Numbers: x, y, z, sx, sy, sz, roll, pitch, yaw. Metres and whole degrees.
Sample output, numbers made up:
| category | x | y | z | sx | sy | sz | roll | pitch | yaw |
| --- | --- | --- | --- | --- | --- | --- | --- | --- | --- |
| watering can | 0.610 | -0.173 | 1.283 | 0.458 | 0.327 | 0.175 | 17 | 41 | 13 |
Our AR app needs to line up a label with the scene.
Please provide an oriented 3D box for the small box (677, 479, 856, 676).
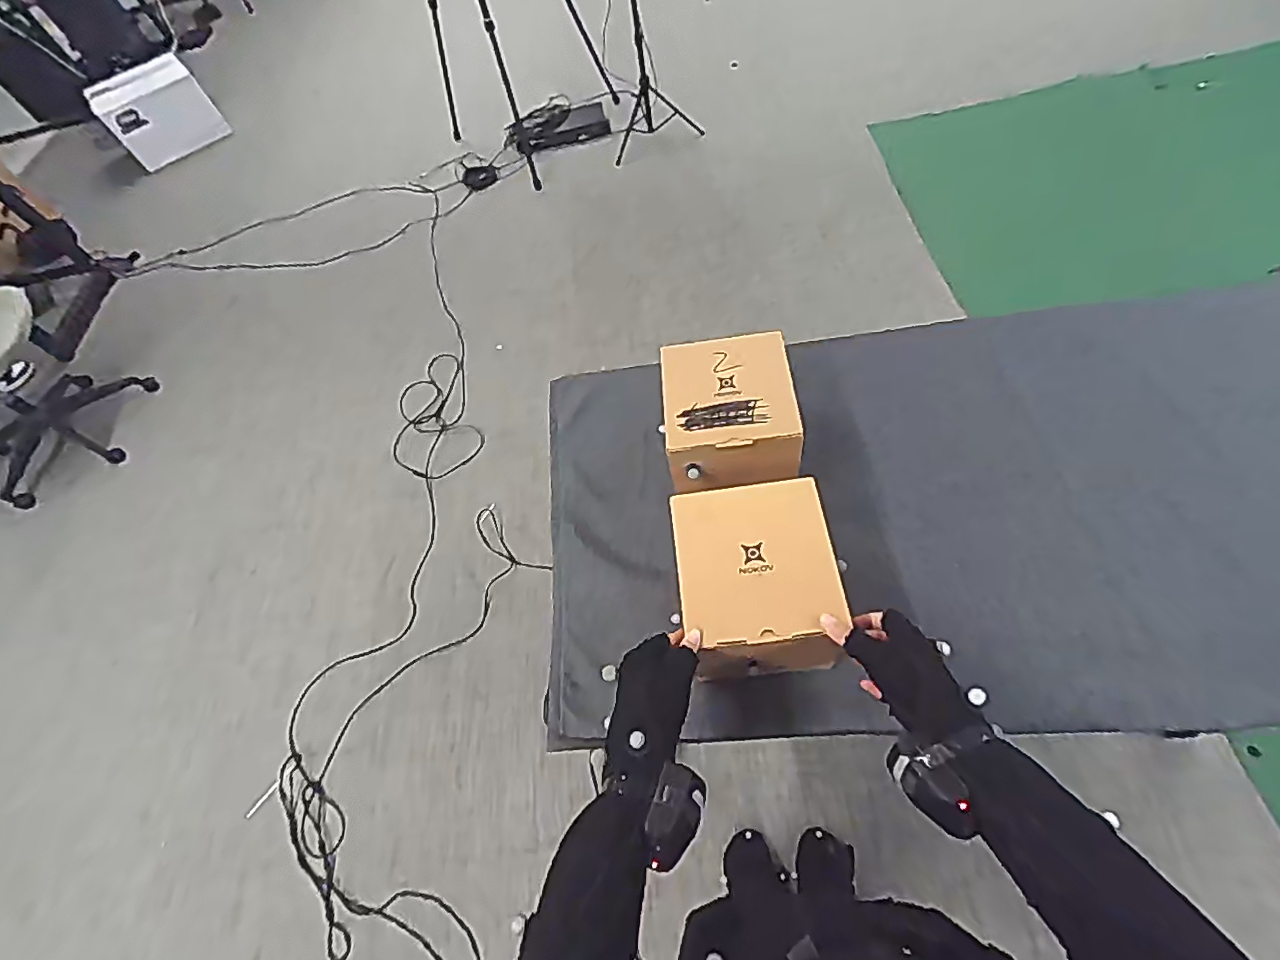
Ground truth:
| category | x | y | z | sx | sy | sz | roll | pitch | yaw |
| --- | --- | --- | --- | --- | --- | --- | --- | --- | --- |
| small box | 0.138 | 0.123 | 0.646 | 0.168 | 0.176 | 0.179 | -8 | 60 | 6 |
